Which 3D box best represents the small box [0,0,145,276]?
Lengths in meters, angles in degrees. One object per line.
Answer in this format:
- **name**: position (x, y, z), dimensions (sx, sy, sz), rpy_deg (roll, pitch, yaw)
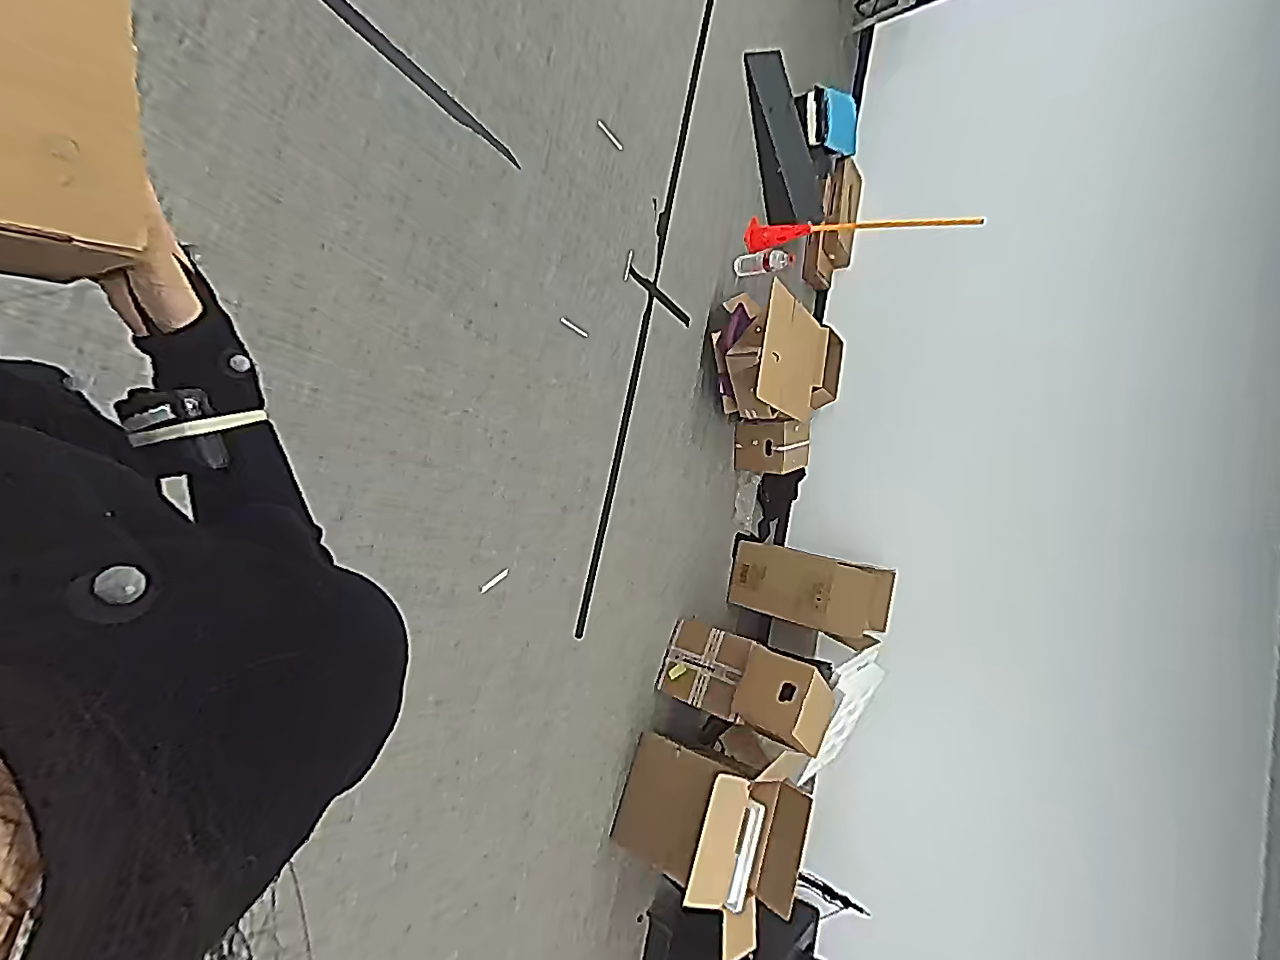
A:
- **small box**: position (-0.385, -0.211, 0.271), dimensions (0.168, 0.176, 0.179), rpy_deg (-9, 104, -57)
